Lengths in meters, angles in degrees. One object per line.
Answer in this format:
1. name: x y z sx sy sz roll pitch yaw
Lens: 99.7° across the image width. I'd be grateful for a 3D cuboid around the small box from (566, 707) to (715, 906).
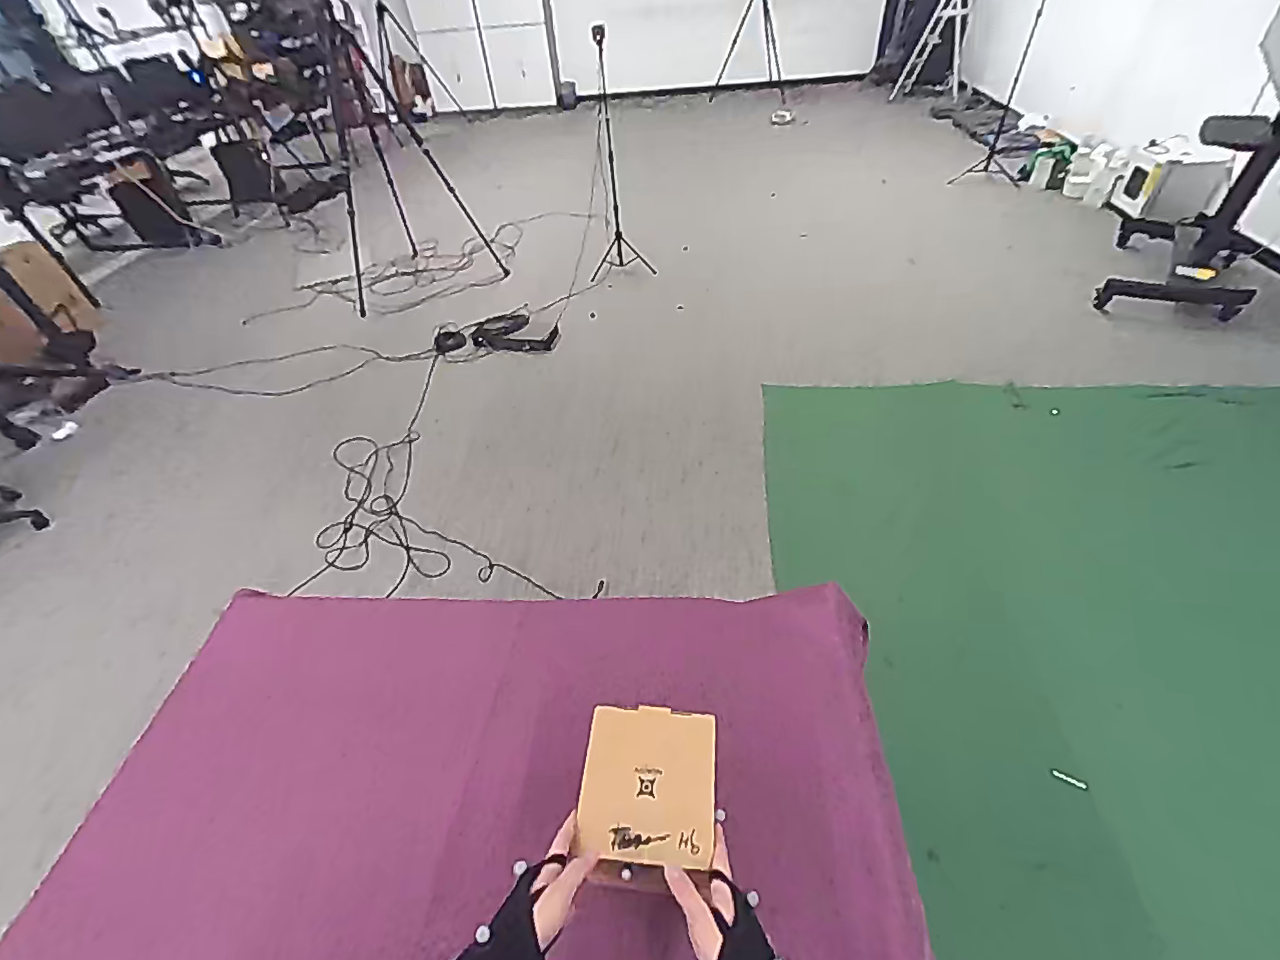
1. small box: 0.011 0.427 0.712 0.168 0.176 0.179 2 44 8
